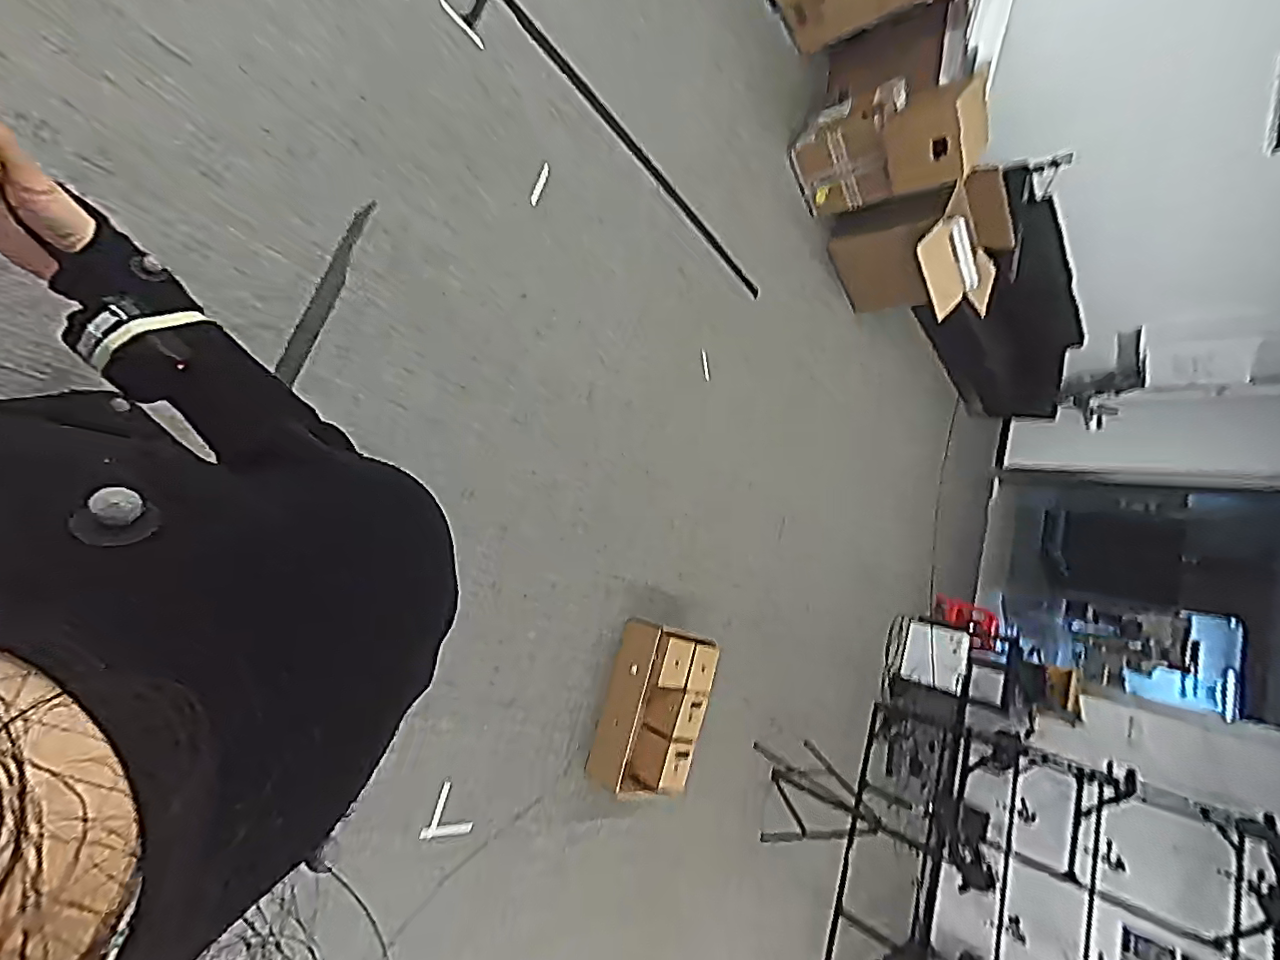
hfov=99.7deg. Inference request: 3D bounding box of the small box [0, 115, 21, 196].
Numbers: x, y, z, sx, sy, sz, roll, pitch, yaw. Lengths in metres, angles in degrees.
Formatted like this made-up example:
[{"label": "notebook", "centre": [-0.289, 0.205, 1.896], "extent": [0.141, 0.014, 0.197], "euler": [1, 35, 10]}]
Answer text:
[{"label": "small box", "centre": [-0.465, -0.228, 0.262], "extent": [0.179, 0.176, 0.168], "euler": [-29, 122, -45]}]
